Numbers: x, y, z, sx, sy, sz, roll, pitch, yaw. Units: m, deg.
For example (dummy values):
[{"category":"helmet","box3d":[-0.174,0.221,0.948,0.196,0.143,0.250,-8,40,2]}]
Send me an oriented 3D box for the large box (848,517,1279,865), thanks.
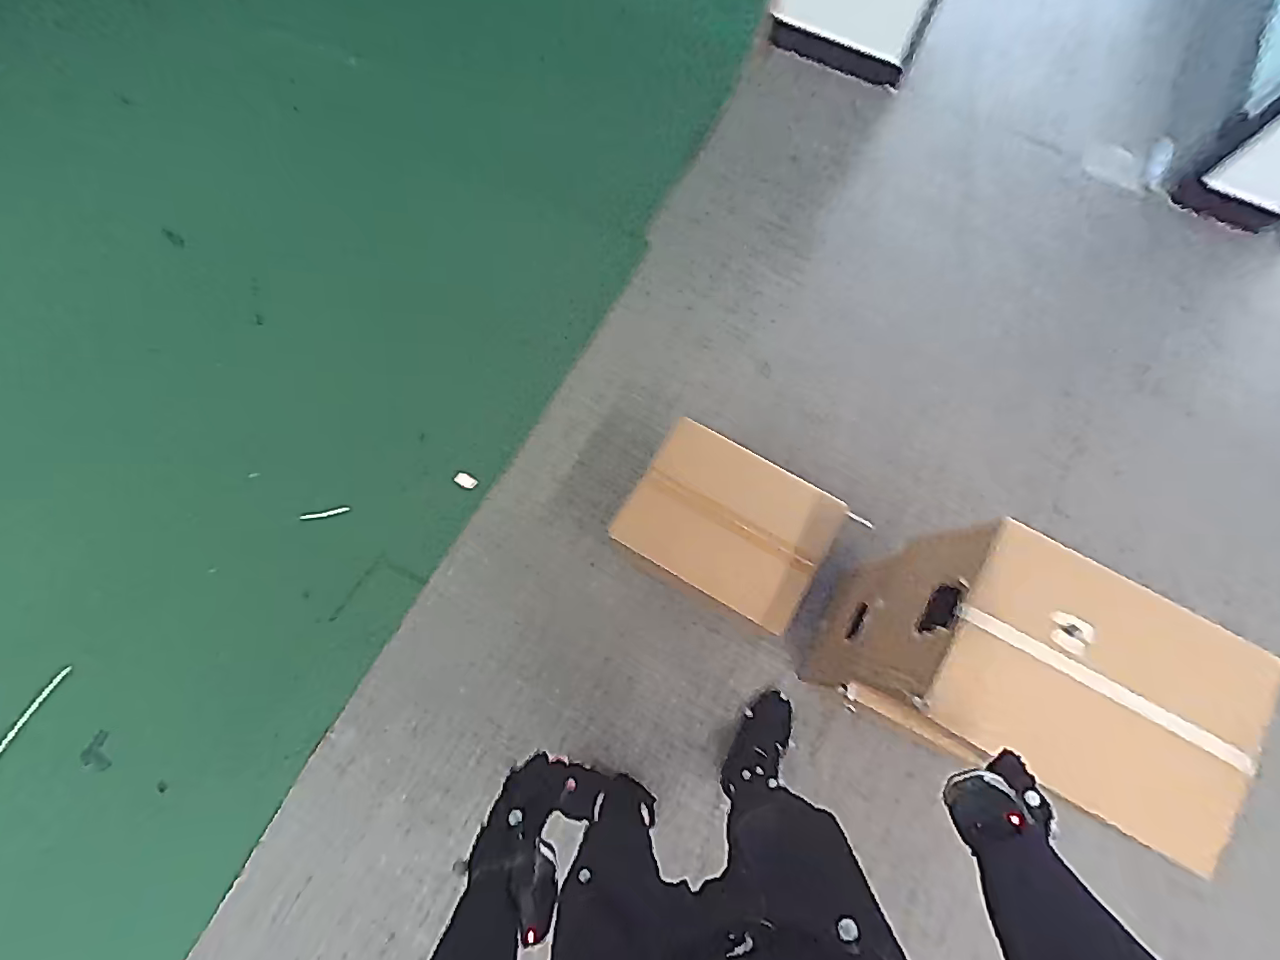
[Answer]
[{"category":"large box","box3d":[0.631,0.303,0.884,0.408,0.320,0.320,29,81,9]}]
